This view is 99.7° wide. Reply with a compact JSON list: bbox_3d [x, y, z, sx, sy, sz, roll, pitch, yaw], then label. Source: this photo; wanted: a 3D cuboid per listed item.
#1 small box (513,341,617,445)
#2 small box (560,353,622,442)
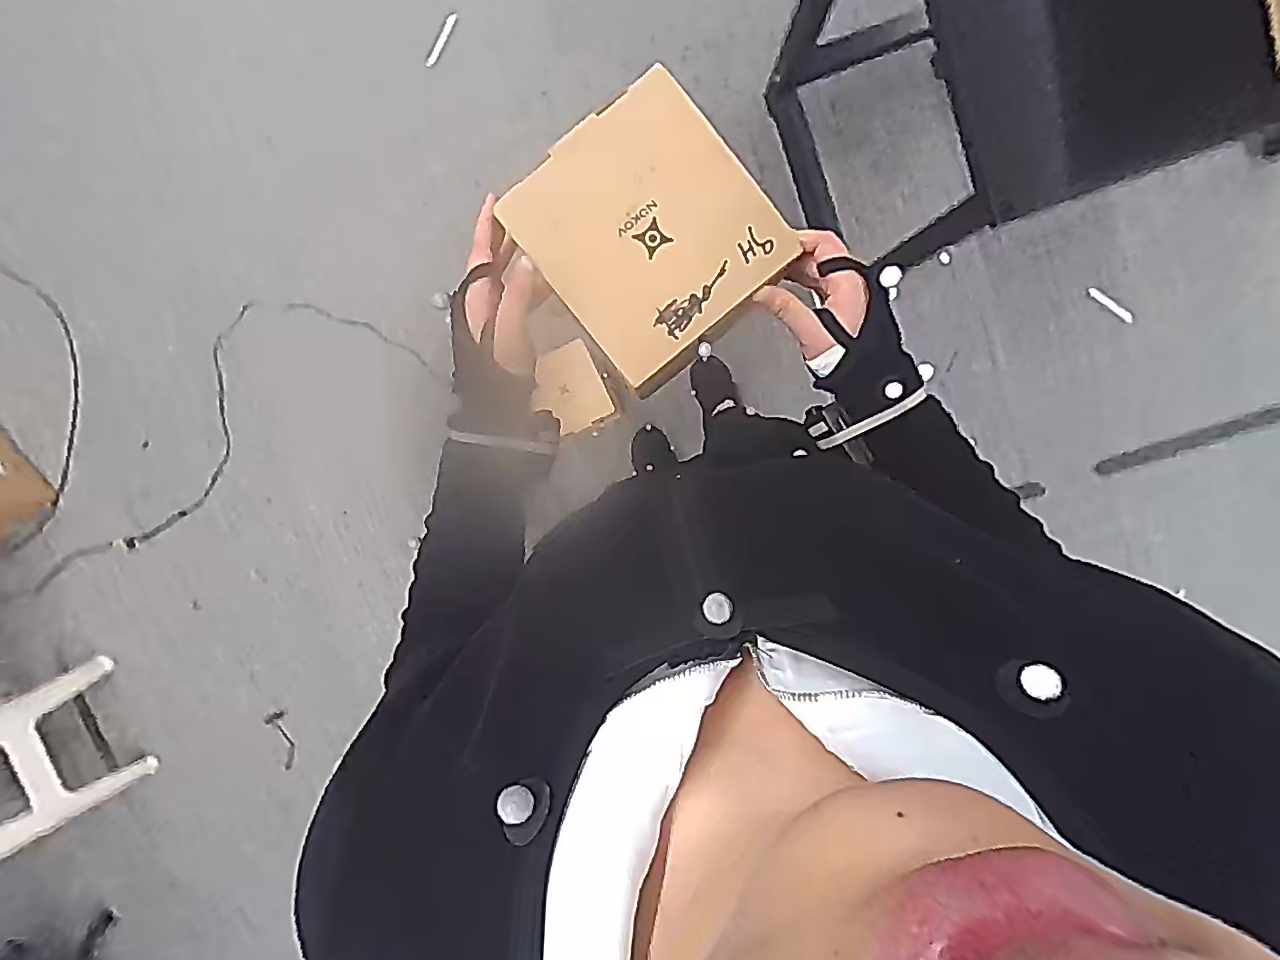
[{"bbox_3d":[-0.162,-0.195,1.236,0.168,0.176,0.179,-26,94,3],"label":"small box"},{"bbox_3d":[-0.154,-0.208,1.397,0.168,0.176,0.179,-23,96,4],"label":"small box"}]
